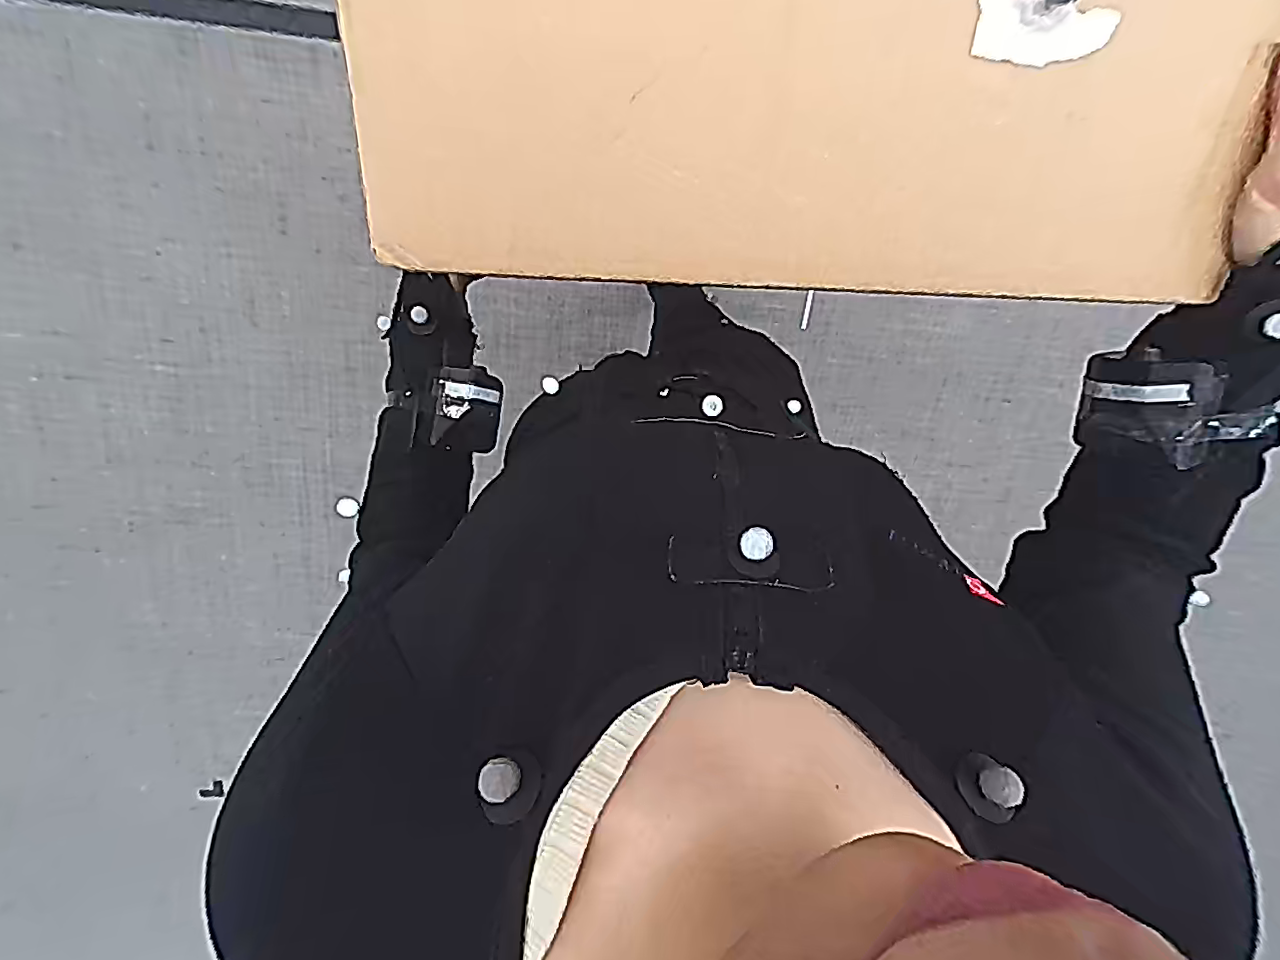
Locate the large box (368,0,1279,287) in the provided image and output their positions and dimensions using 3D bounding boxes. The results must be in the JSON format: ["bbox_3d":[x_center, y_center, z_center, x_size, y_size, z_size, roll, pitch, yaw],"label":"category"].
[{"bbox_3d":[0.075,-0.296,0.341,0.408,0.320,0.320,-1,113,-7],"label":"large box"}]
